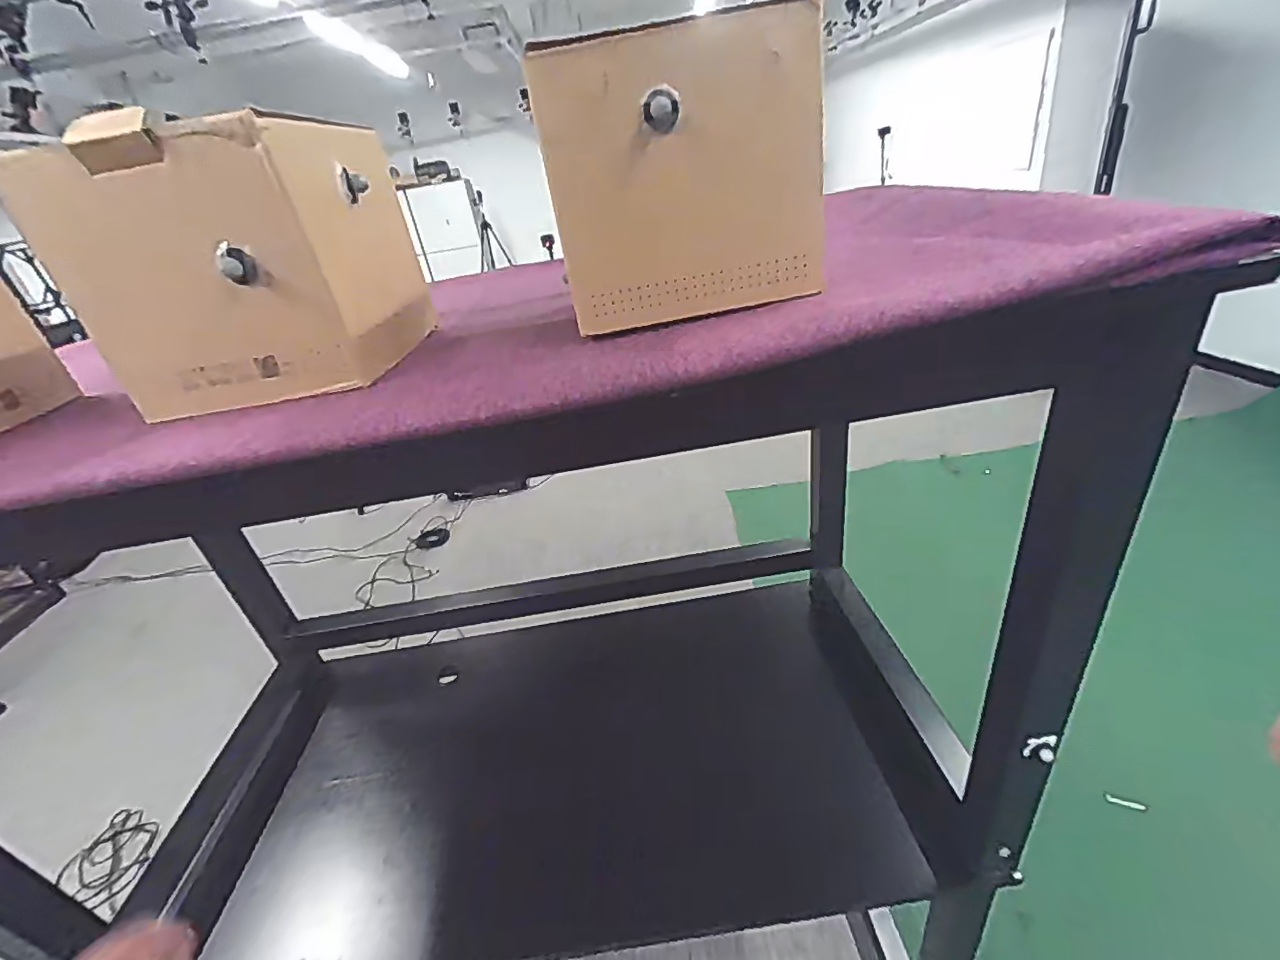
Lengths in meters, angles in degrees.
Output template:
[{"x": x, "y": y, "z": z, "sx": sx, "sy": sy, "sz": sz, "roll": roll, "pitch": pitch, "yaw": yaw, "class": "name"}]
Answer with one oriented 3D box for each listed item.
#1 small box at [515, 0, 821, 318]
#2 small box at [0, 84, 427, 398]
[{"x": 0.023, "y": -0.229, "z": 0.405, "sx": 0.179, "sy": 0.176, "sz": 0.168, "roll": -10, "pitch": 27, "yaw": 1, "class": "small box"}, {"x": -0.283, "y": -0.167, "z": 0.404, "sx": 0.168, "sy": 0.176, "sz": 0.179, "roll": -8, "pitch": 29, "yaw": 2, "class": "small box"}]
